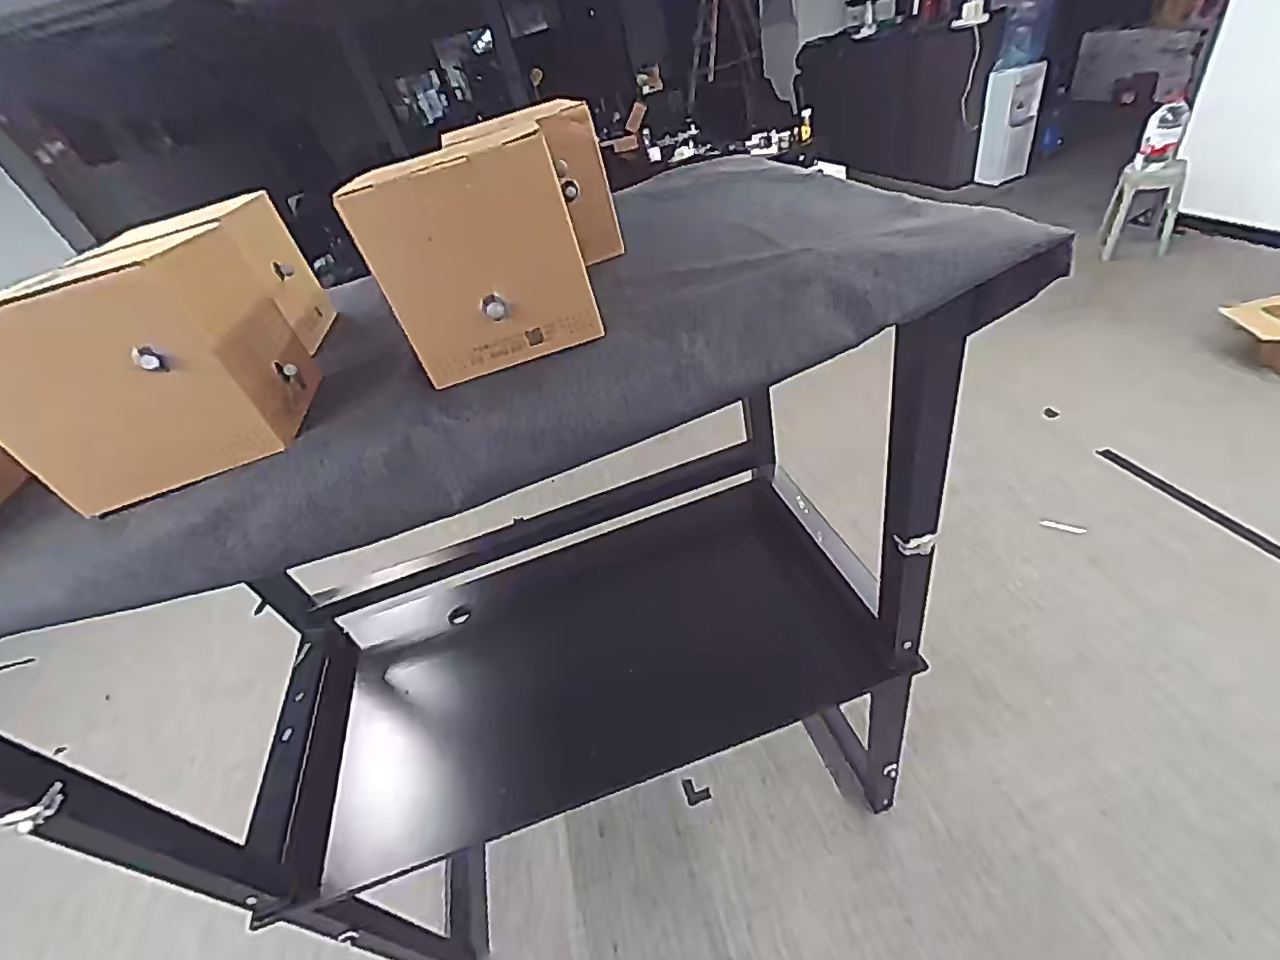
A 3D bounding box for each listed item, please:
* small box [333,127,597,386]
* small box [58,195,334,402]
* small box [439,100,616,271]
[{"bbox_3d":[-0.149,-0.215,0.517,0.168,0.176,0.179,-18,38,-1],"label":"small box"},{"bbox_3d":[-0.518,-0.224,0.669,0.179,0.176,0.168,-19,39,-3],"label":"small box"},{"bbox_3d":[-0.141,-0.361,0.691,0.168,0.176,0.179,-20,39,-6],"label":"small box"}]
